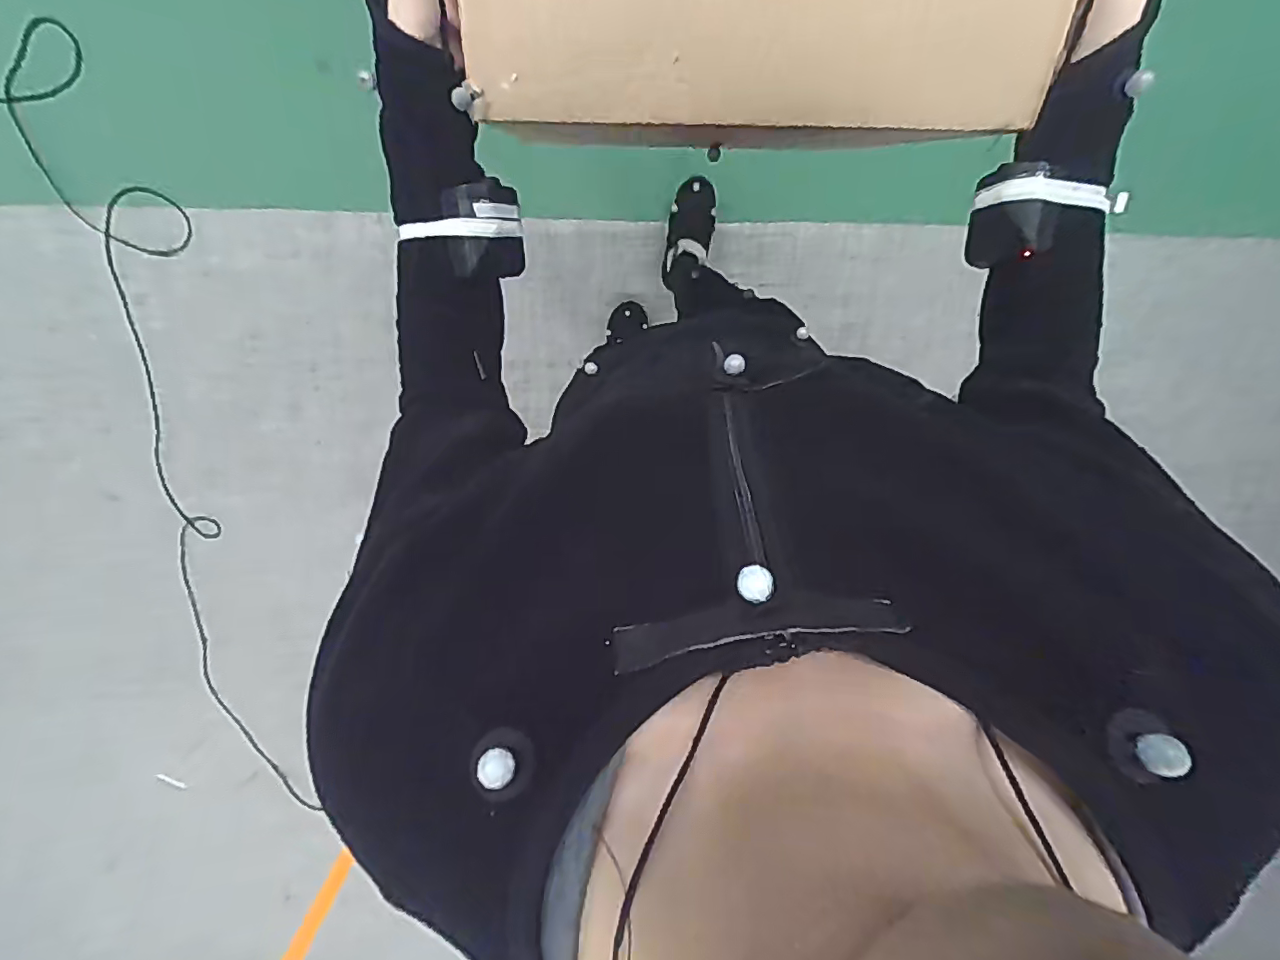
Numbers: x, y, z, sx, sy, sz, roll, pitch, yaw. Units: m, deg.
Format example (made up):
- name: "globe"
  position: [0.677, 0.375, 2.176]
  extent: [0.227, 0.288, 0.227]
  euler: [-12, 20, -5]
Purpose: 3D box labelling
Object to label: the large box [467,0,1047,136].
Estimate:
- name: "large box"
  position: [0.075, -0.472, 0.447]
  extent: [0.408, 0.320, 0.320]
  euler: [-2, 119, -4]
